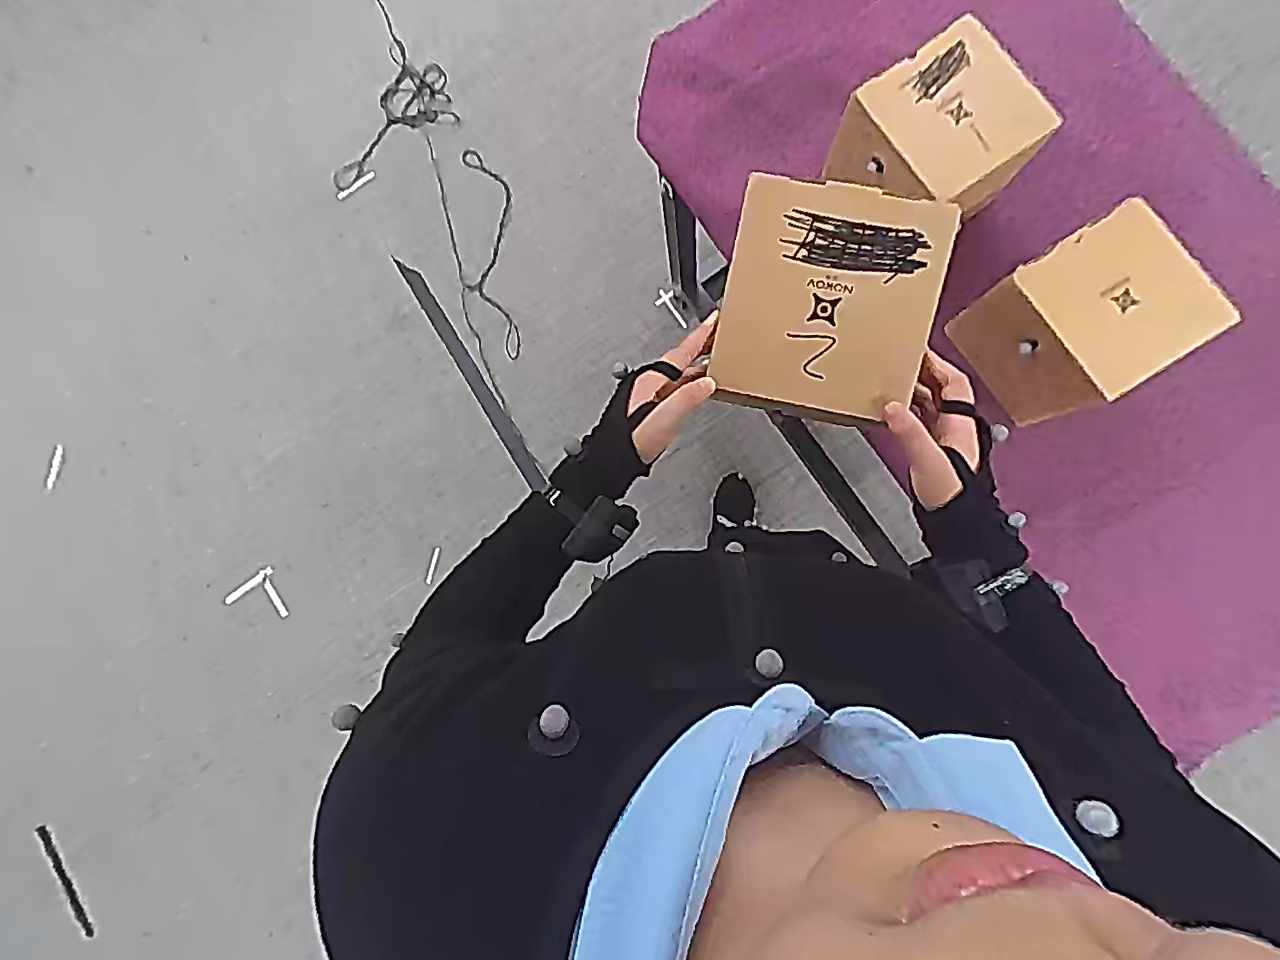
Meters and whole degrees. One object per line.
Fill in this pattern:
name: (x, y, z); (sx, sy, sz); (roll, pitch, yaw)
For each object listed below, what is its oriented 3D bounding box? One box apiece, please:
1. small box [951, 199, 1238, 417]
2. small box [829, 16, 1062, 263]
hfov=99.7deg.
small box: (0.539, -0.193, 0.673); (0.168, 0.176, 0.179); (-33, 82, 3)
small box: (0.376, -0.426, 0.708); (0.168, 0.176, 0.179); (-34, 83, 3)
